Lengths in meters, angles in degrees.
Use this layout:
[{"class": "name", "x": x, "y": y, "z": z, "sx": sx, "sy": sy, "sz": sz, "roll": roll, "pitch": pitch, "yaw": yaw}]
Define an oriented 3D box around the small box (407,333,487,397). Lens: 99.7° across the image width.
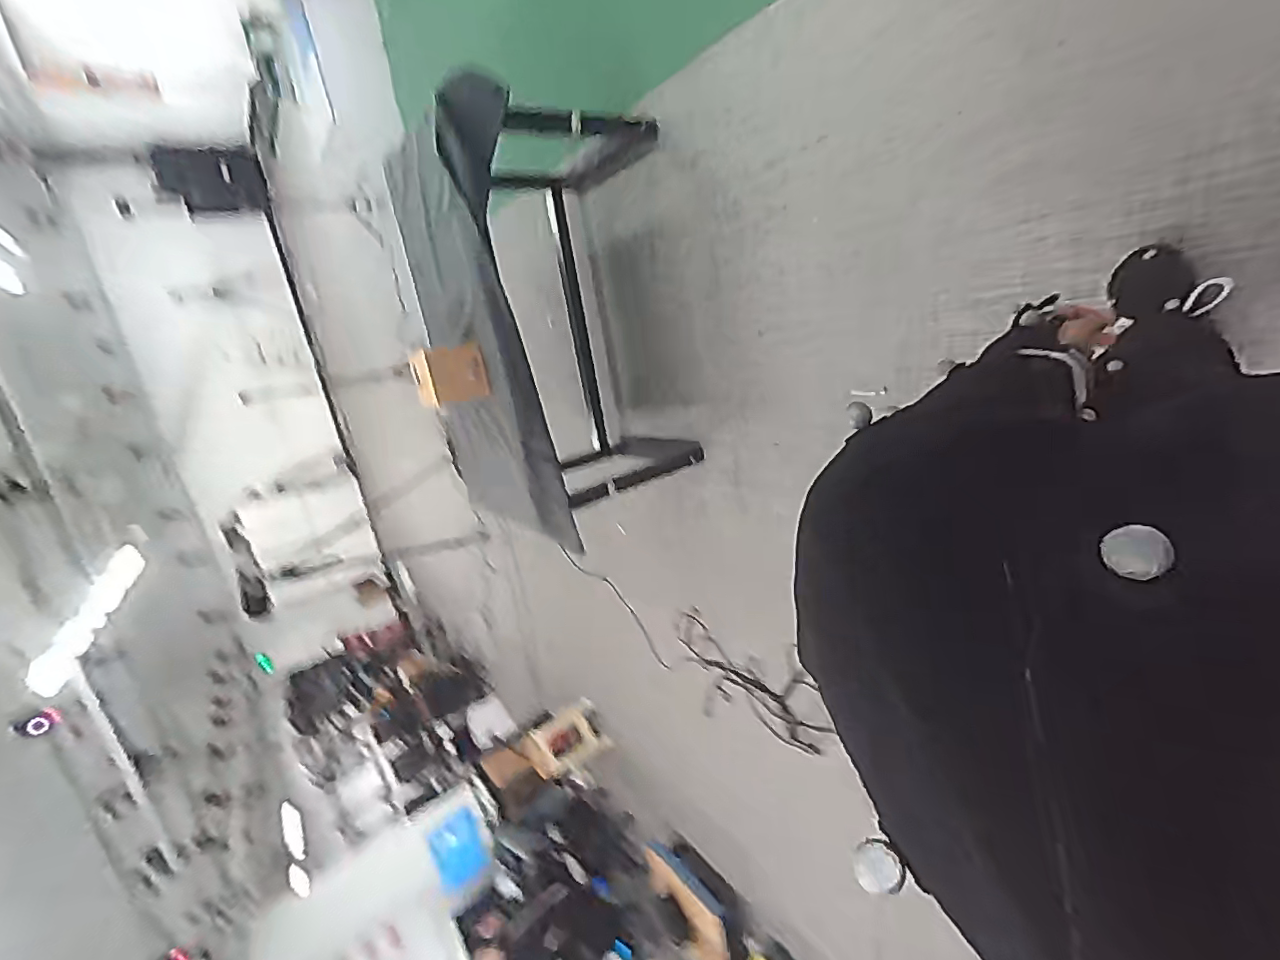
[{"class": "small box", "x": -0.591, "y": -0.353, "z": 1.661, "sx": 0.179, "sy": 0.176, "sz": 0.168, "roll": 11, "pitch": 116, "yaw": 52}]
